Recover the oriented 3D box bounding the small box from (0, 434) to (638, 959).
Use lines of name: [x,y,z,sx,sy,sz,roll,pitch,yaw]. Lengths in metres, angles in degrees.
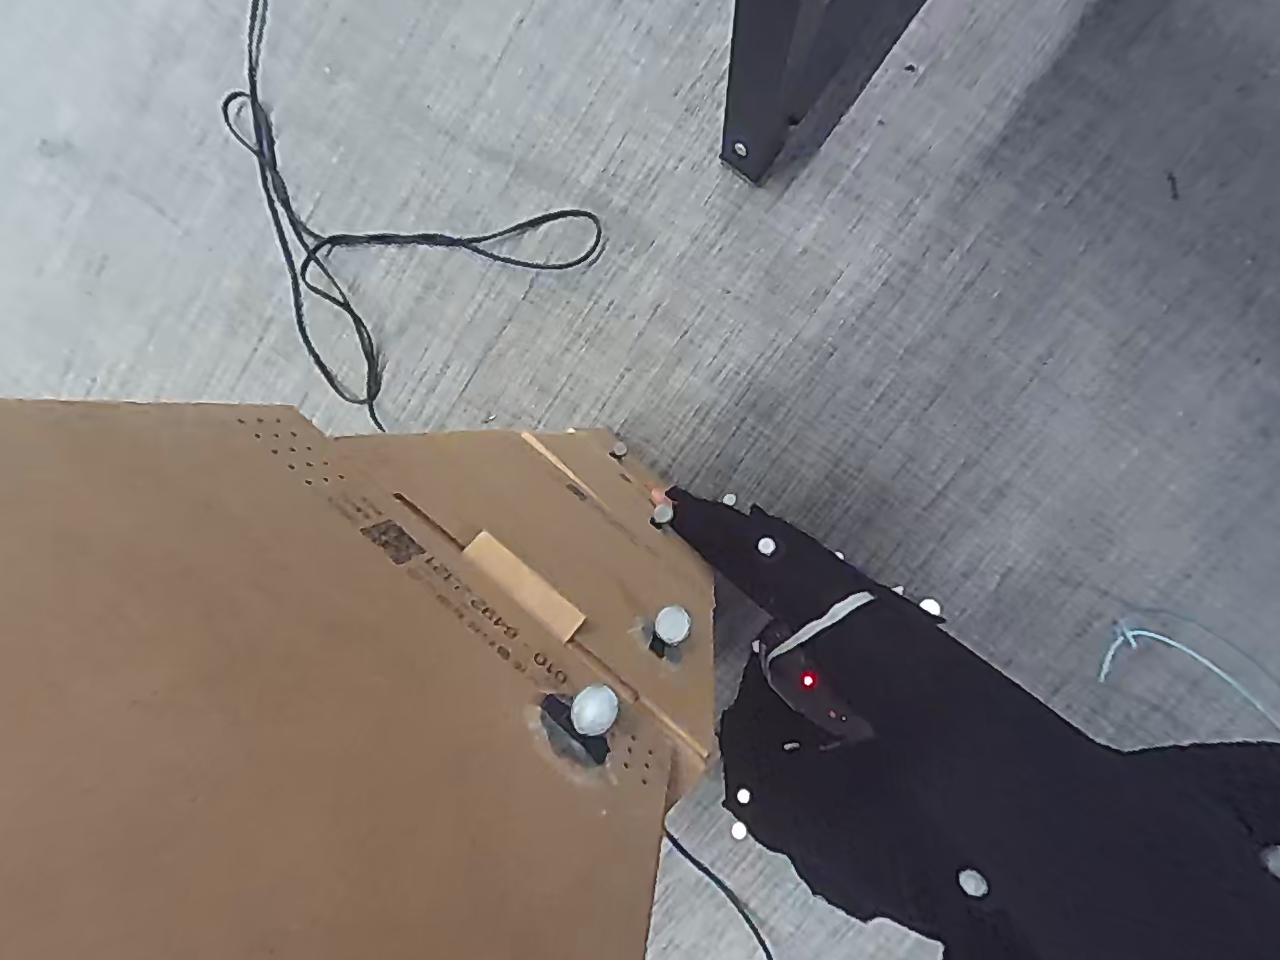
small box: [-0.116,0.105,0.111,0.168,0.176,0.179,42,102,2]
